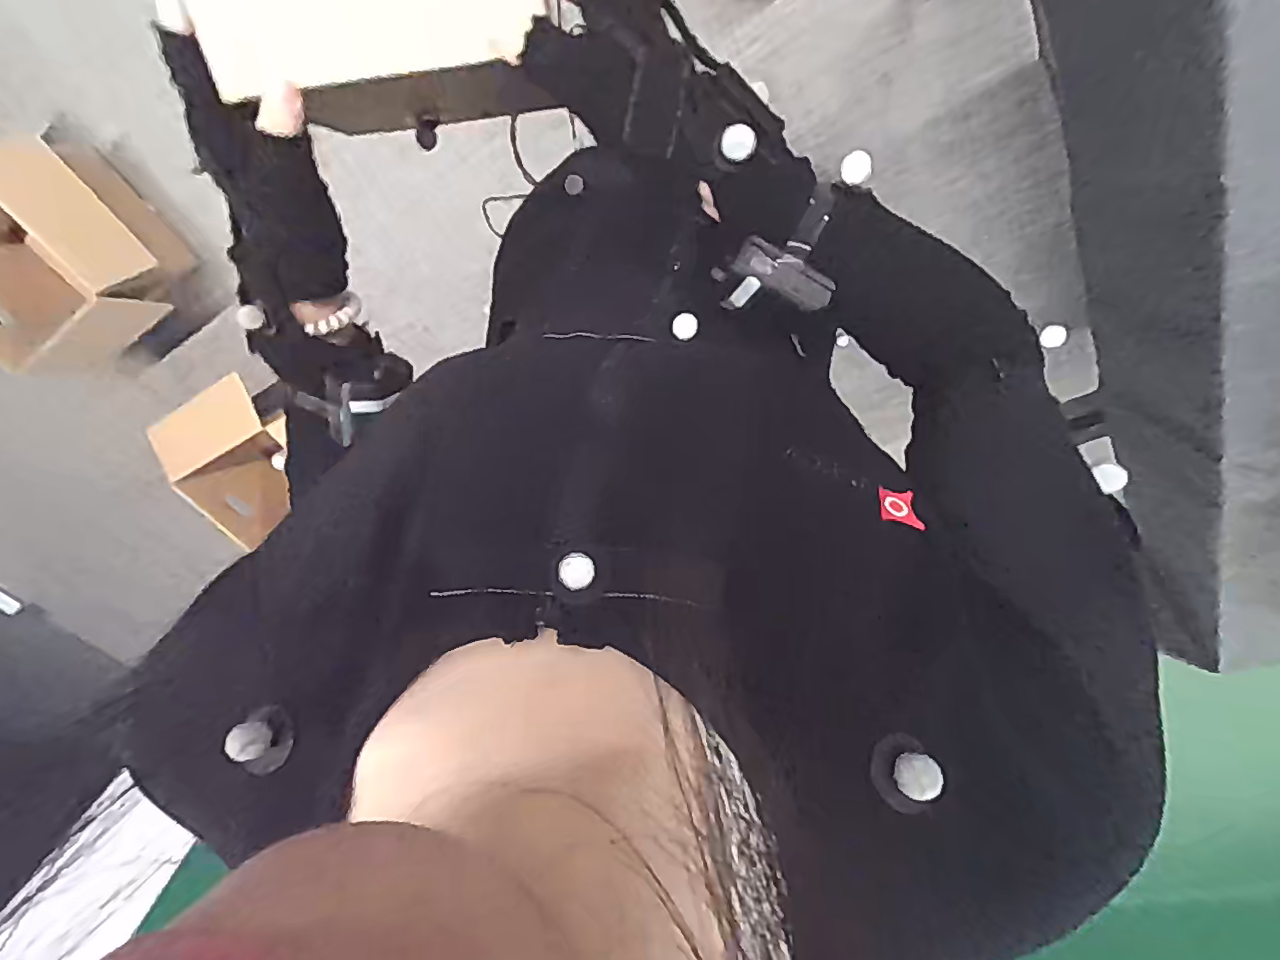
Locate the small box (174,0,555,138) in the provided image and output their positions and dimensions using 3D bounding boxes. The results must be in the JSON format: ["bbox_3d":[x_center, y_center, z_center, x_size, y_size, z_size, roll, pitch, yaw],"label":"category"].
[{"bbox_3d":[-0.148,-0.313,0.303,0.168,0.176,0.179,-9,117,1],"label":"small box"}]
